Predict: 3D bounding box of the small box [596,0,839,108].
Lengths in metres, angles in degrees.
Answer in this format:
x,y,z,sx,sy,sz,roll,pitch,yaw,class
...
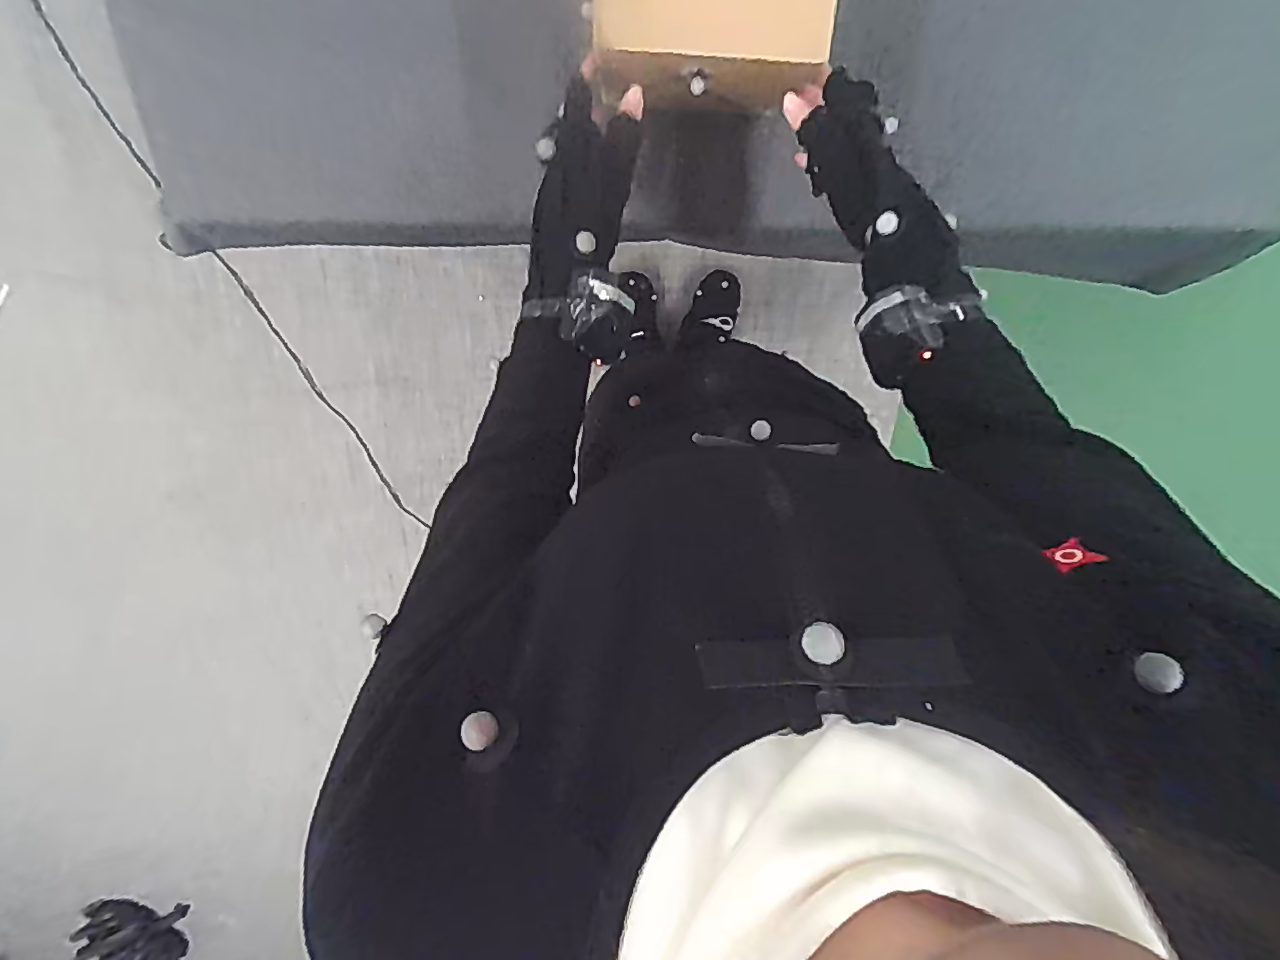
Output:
x,y,z,sx,sy,sz,roll,pitch,yaw,class
0.058,-0.420,0.441,0.179,0.176,0.168,2,114,-1,small box
